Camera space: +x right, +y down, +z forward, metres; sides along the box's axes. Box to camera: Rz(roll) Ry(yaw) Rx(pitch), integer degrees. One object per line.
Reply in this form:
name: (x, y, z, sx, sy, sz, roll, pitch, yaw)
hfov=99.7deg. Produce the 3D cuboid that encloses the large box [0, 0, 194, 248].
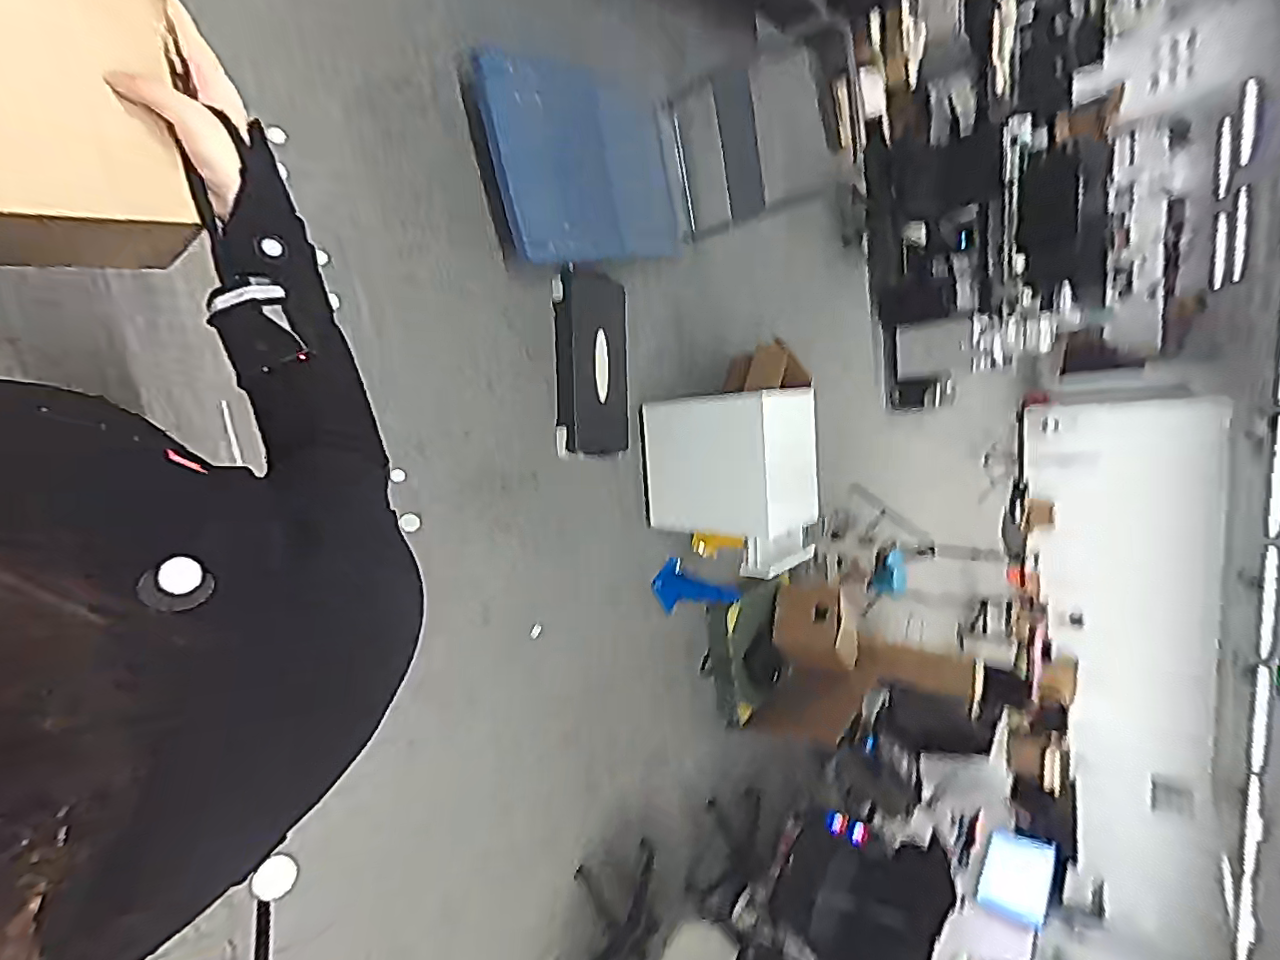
large box: (-0.598, -0.327, 0.347, 0.408, 0.320, 0.320, -20, 114, -40)
